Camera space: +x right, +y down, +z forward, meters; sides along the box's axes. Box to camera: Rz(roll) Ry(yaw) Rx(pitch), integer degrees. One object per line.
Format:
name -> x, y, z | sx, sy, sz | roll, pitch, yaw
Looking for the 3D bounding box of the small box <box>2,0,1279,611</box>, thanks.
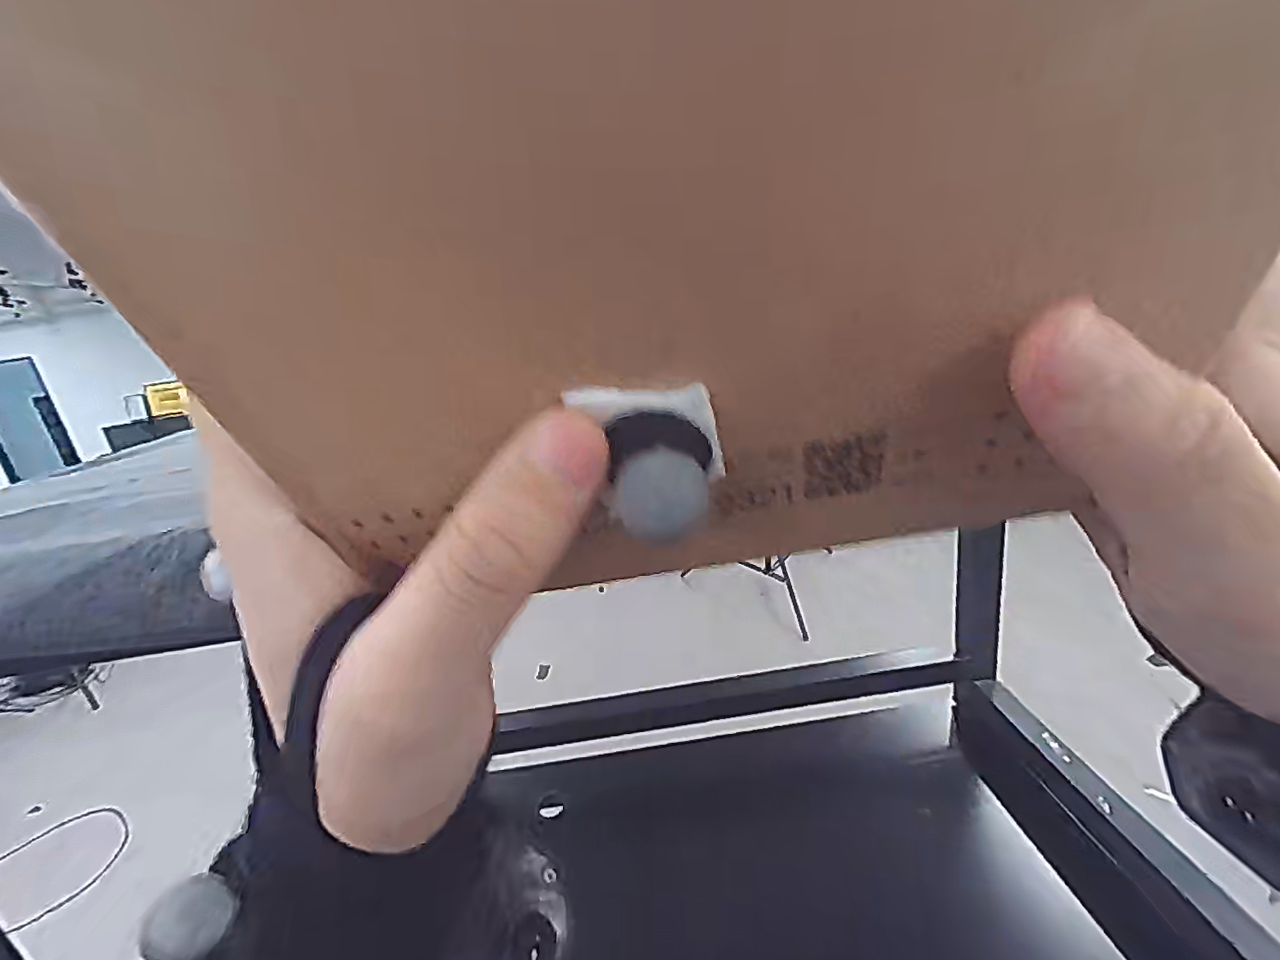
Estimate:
small box -> 0.006, -0.097, 0.128 | 0.168, 0.176, 0.179 | -11, 43, 6
